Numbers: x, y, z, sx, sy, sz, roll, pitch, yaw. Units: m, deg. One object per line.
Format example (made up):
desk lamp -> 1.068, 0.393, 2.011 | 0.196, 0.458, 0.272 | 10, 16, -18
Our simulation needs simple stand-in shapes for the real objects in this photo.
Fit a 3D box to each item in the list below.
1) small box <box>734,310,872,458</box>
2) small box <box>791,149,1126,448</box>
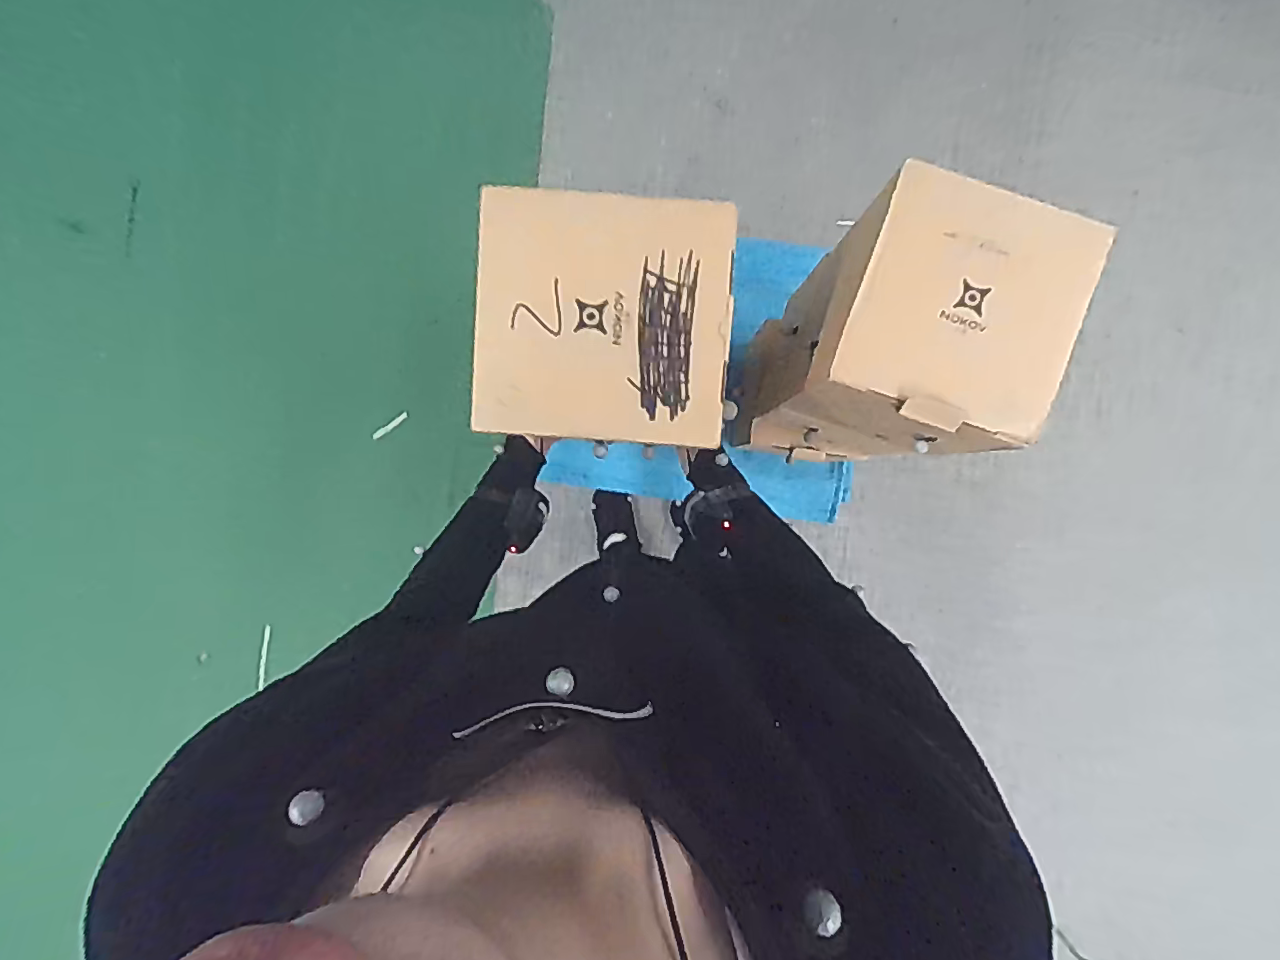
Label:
small box -> 0.240, -0.133, 0.799 | 0.168, 0.176, 0.179 | 9, 93, 0
small box -> 0.249, -0.134, 0.473 | 0.168, 0.176, 0.179 | 20, 91, 0
